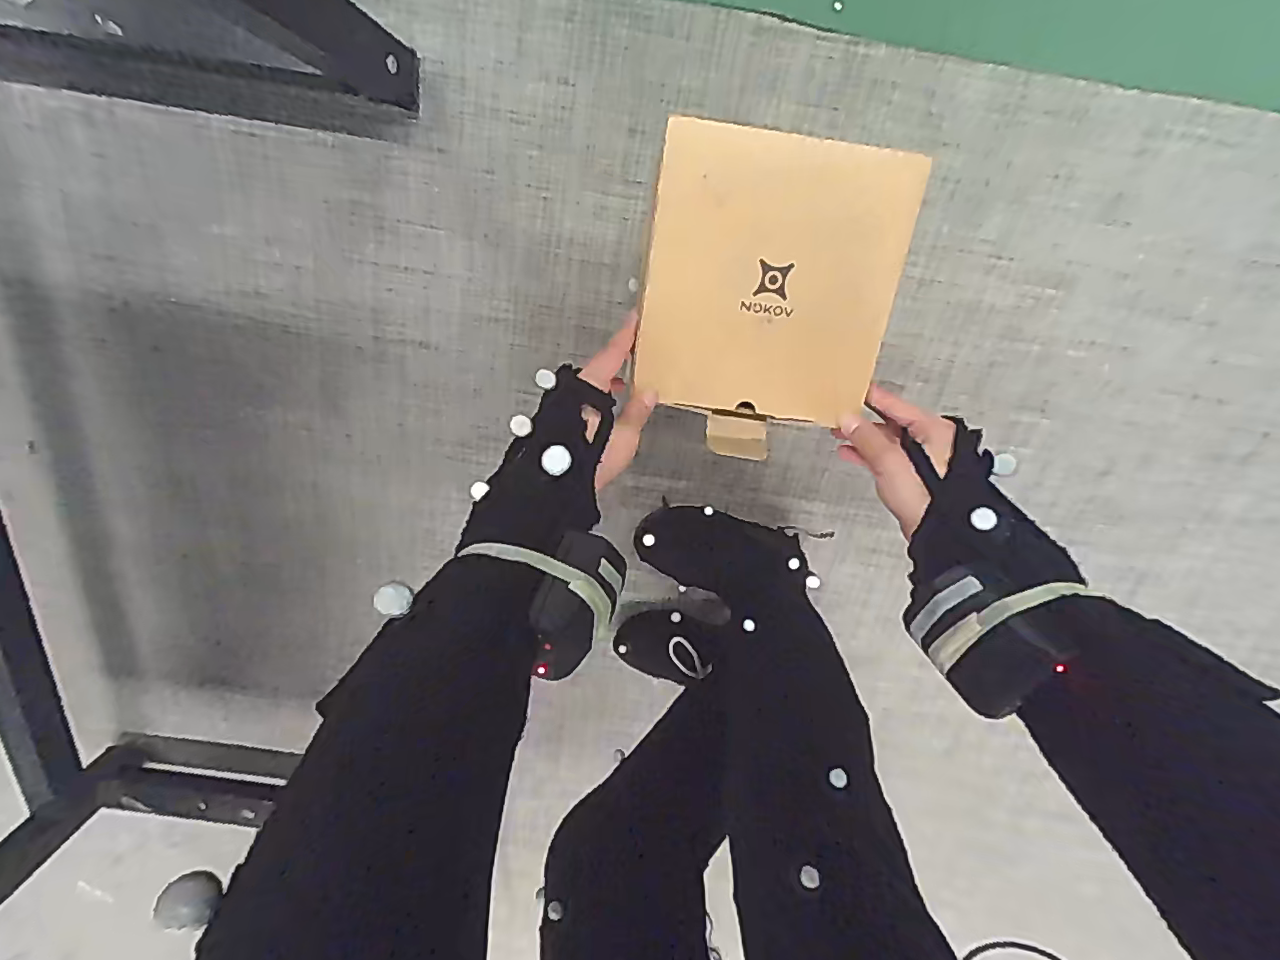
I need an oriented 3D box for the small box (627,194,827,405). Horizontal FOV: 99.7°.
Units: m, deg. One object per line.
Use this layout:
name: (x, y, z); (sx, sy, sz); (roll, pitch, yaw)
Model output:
small box: (0.084, -0.197, 0.595); (0.168, 0.176, 0.179); (9, 111, 0)
